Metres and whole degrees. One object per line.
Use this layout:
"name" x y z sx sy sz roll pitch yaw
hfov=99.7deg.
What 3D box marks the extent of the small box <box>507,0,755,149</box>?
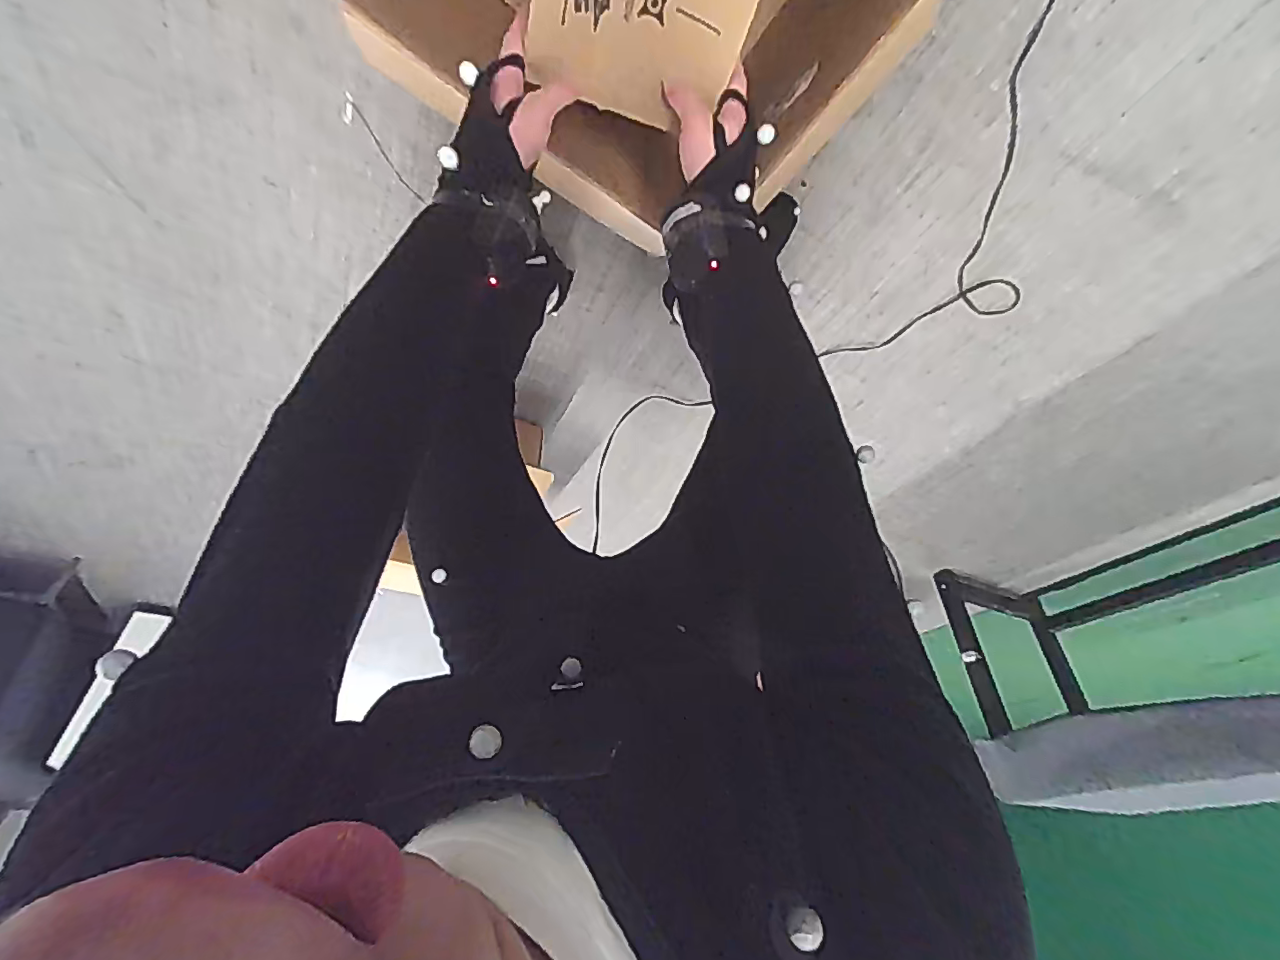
"small box" -0.002 -0.436 0.471 0.179 0.176 0.168 14 141 -16
